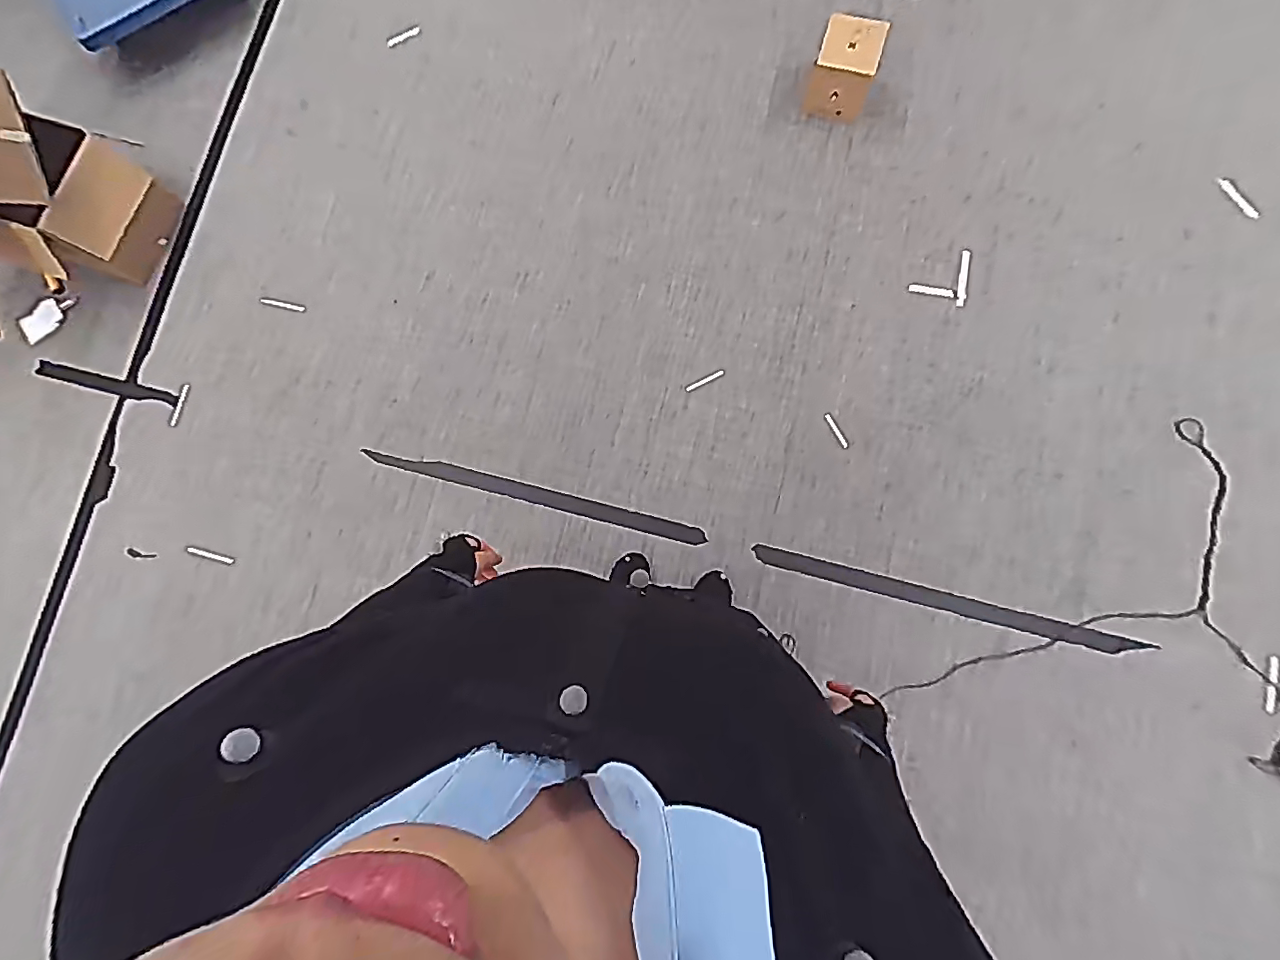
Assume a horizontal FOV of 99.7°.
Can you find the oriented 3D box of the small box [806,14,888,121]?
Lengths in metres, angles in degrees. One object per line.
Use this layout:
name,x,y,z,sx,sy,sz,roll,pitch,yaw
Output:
small box,0.601,-1.208,1.595,0.168,0.176,0.179,17,83,6
